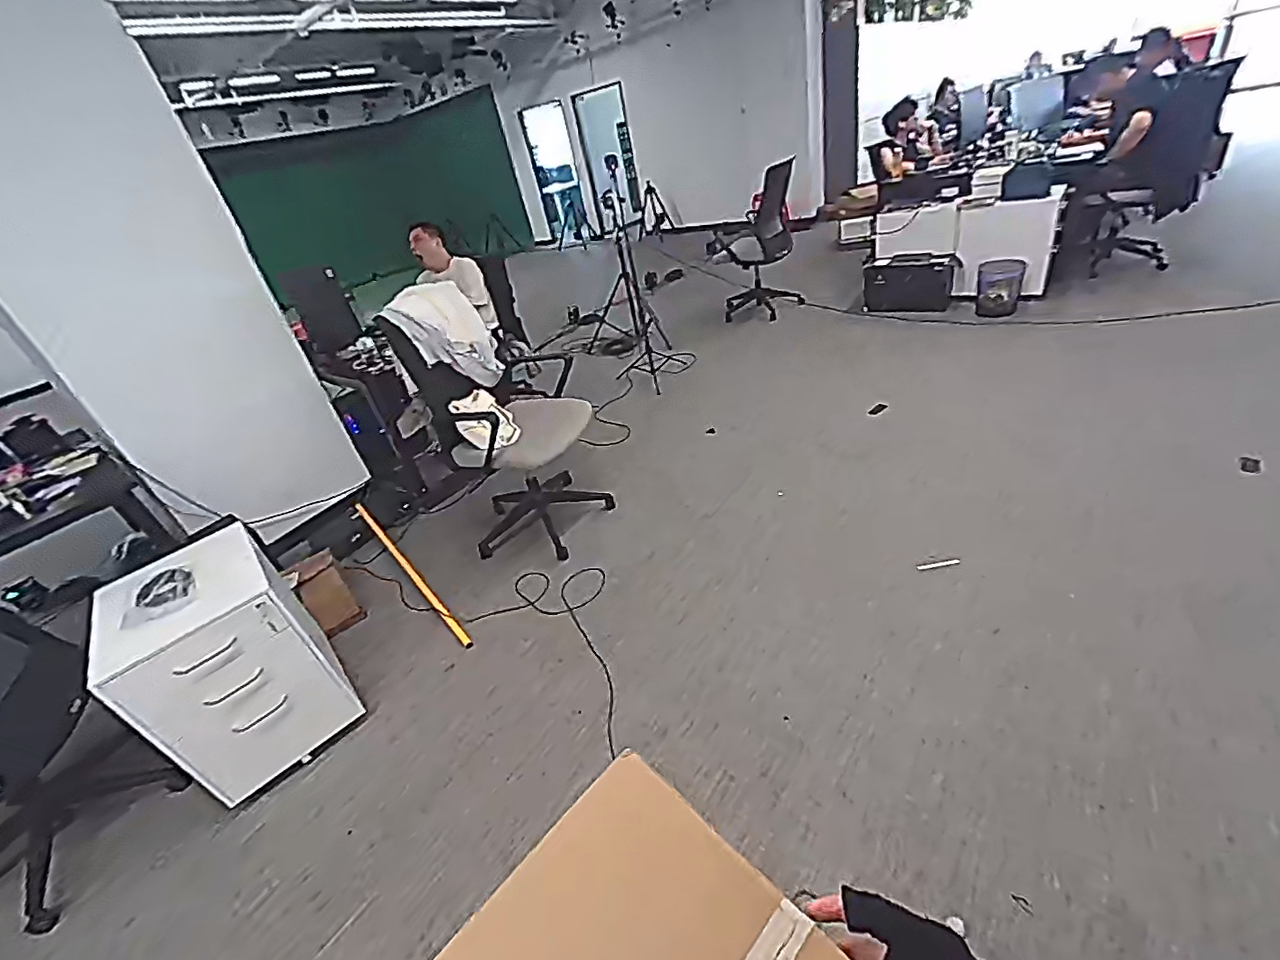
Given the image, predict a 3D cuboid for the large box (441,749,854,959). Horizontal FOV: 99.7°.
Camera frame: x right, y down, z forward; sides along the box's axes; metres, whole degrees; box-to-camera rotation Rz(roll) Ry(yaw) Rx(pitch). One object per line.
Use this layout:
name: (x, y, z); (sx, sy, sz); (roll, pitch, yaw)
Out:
large box: (-0.015, 0.497, 0.361); (0.320, 0.320, 0.408); (30, 55, 35)
